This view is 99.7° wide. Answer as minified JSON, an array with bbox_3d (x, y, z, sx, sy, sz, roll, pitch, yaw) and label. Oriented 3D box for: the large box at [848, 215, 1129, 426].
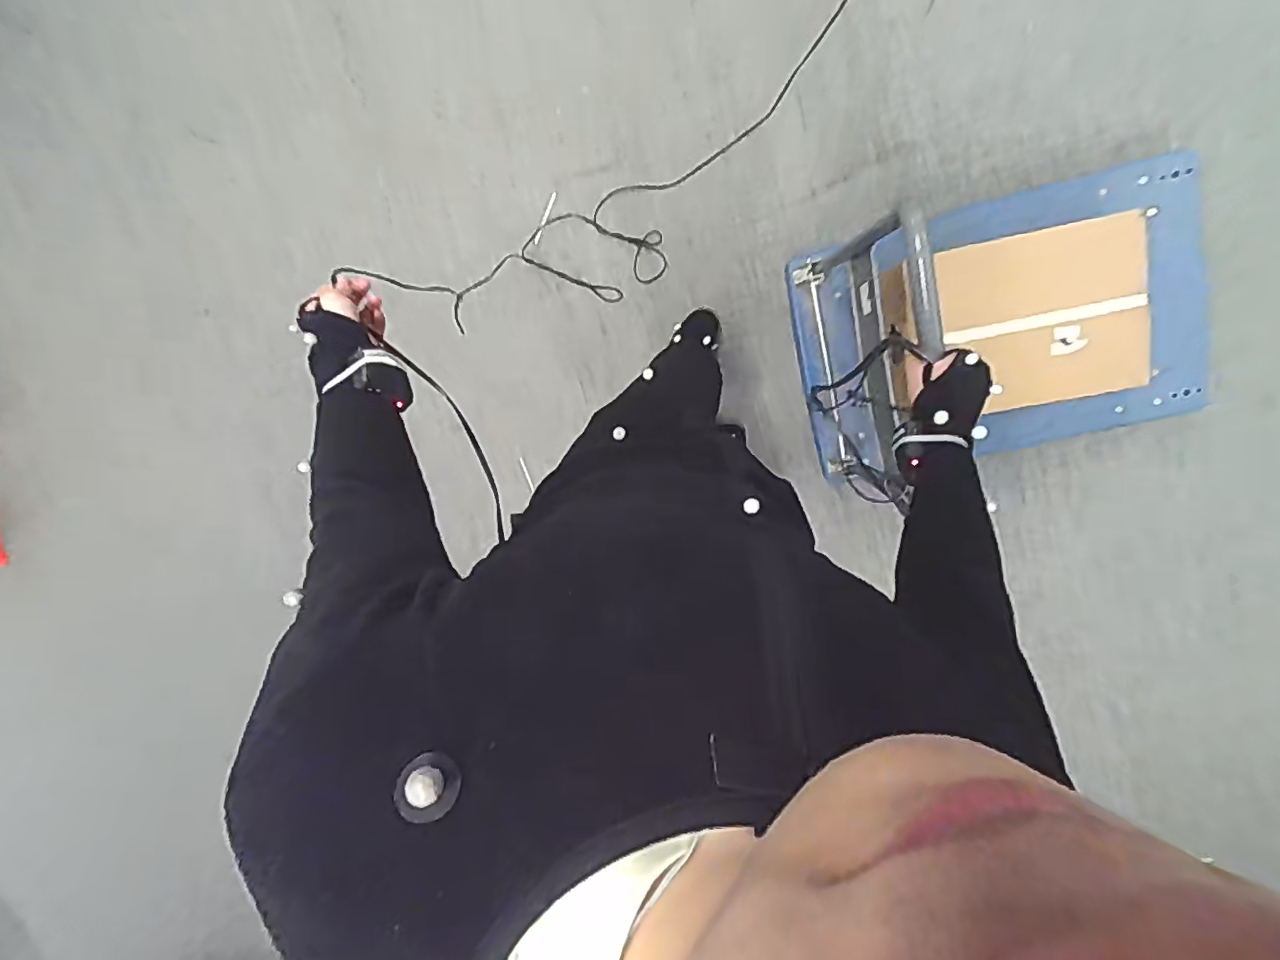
[{"bbox_3d":[0.706,-0.317,1.156,0.408,0.320,0.320,-10,101,8],"label":"large box"}]
